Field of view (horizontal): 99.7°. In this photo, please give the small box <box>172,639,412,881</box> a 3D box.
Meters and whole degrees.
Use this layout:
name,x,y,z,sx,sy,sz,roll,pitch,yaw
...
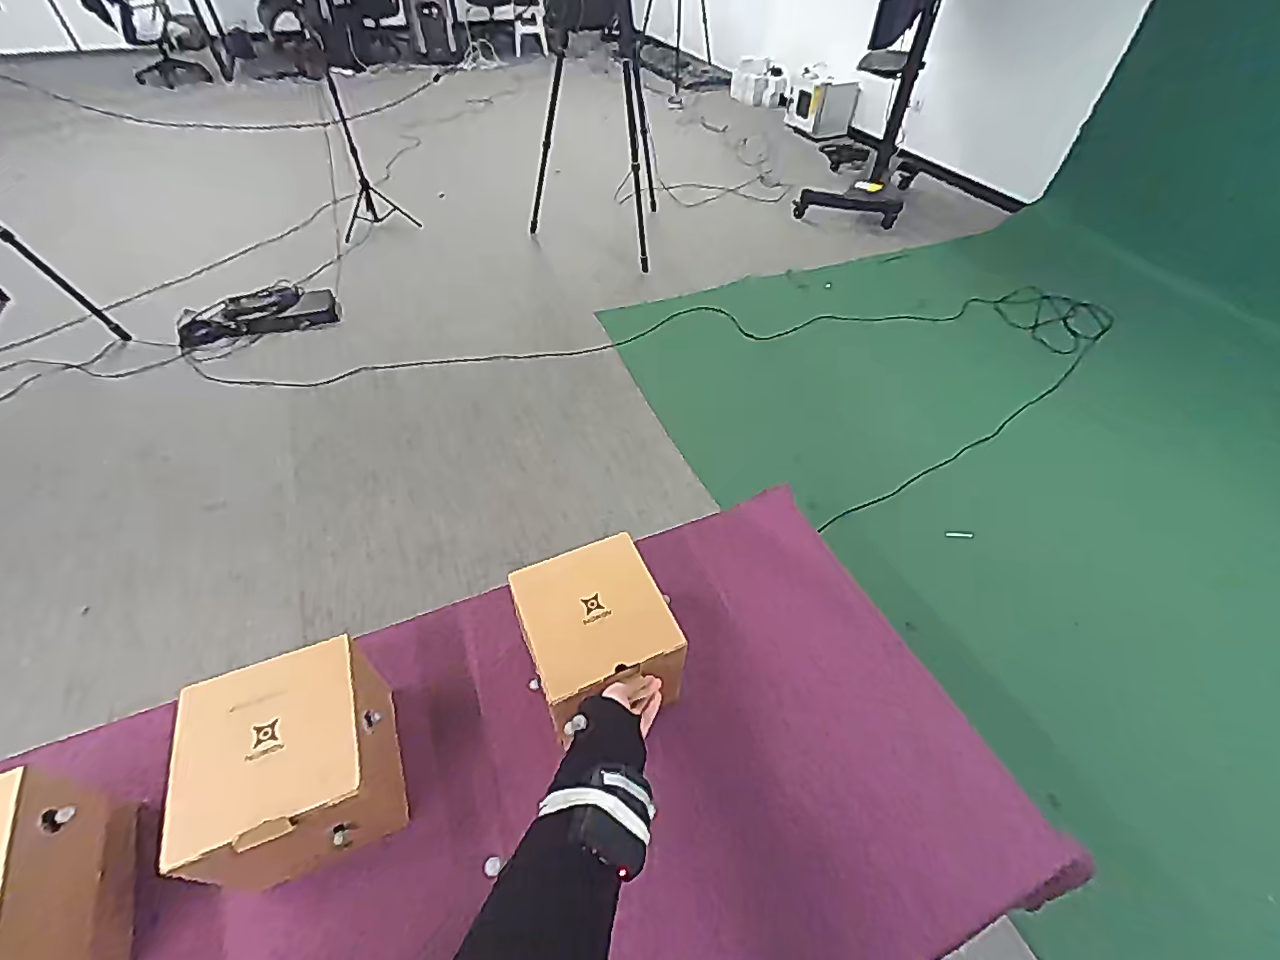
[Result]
name,x,y,z,sx,sy,sz,roll,pitch,yaw
small box,-0.370,0.314,0.603,0.168,0.176,0.179,-17,51,-17

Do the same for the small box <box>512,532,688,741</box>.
name,x,y,z,sx,sy,sz,roll,pitch,yaw
small box,-0.054,0.204,0.705,0.168,0.176,0.179,-19,52,-17

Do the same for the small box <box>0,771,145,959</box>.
name,x,y,z,sx,sy,sz,roll,pitch,yaw
small box,-0.613,0.418,0.506,0.168,0.176,0.179,-22,53,-19
